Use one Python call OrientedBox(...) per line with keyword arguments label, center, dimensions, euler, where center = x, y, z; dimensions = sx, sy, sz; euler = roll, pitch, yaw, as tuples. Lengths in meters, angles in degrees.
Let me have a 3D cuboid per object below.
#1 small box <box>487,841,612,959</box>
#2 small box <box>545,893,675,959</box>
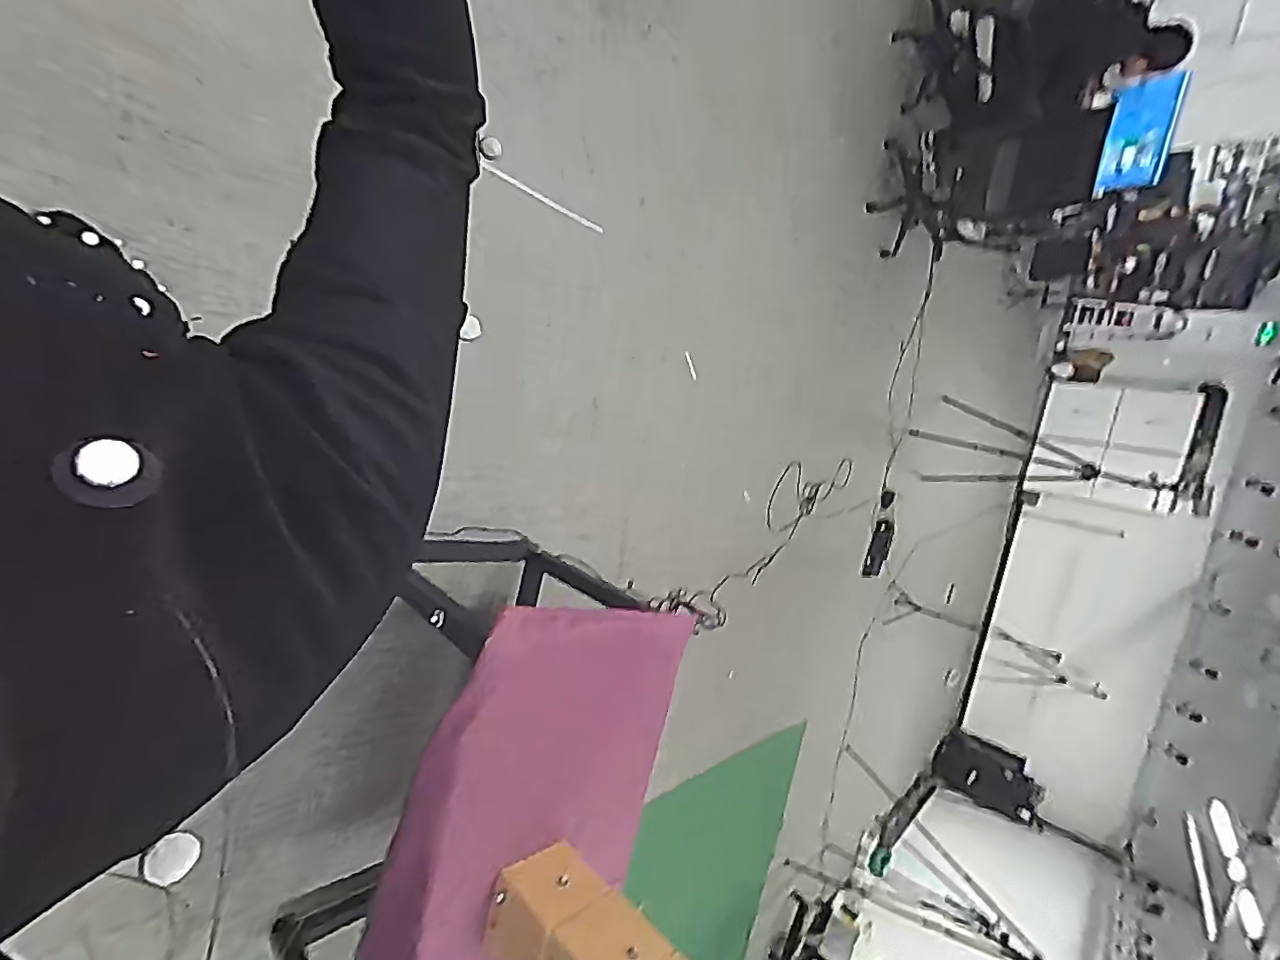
OrientedBox(label="small box", center=(-0.190, 0.898, 1.116), dimensions=(0.179, 0.176, 0.168), euler=(11, 94, -48))
OrientedBox(label="small box", center=(-0.067, 0.932, 1.012), dimensions=(0.179, 0.176, 0.168), euler=(11, 94, -48))
